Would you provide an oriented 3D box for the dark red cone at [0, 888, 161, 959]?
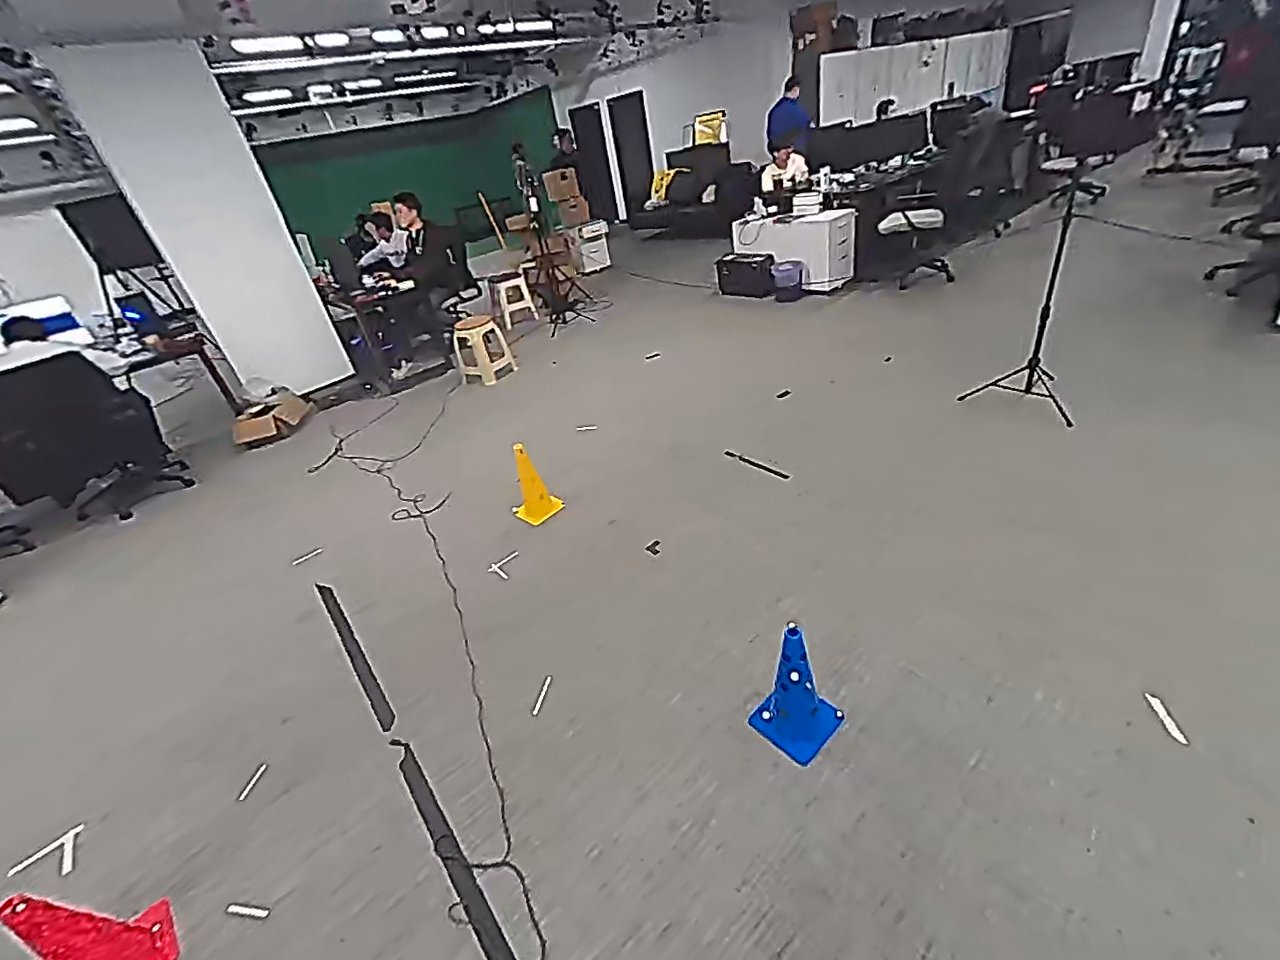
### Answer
[{"bbox_3d":[-1.272,1.002,1.177,0.202,0.394,0.201,18,42,39],"label":"dark red cone"}]

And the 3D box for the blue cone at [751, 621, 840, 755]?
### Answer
[{"bbox_3d":[0.404,0.521,1.422,0.192,0.380,0.193,-30,36,-29],"label":"blue cone"}]
